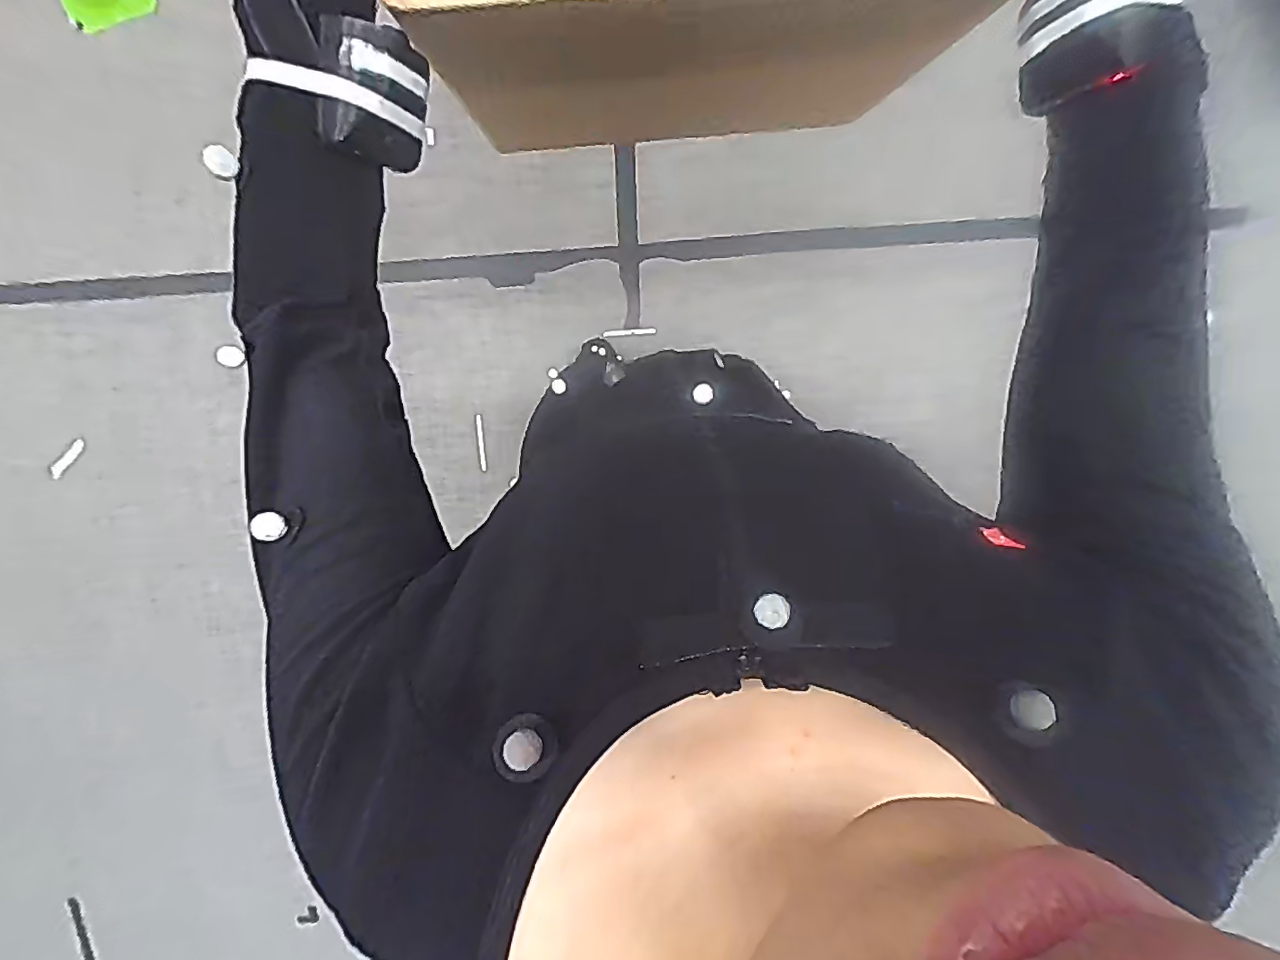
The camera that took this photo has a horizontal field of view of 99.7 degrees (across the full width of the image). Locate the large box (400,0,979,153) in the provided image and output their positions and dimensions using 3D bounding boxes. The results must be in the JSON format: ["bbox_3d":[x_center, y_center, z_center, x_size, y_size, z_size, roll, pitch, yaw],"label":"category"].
[{"bbox_3d":[0.029,-0.486,0.420,0.408,0.320,0.320,-5,108,-1],"label":"large box"}]
